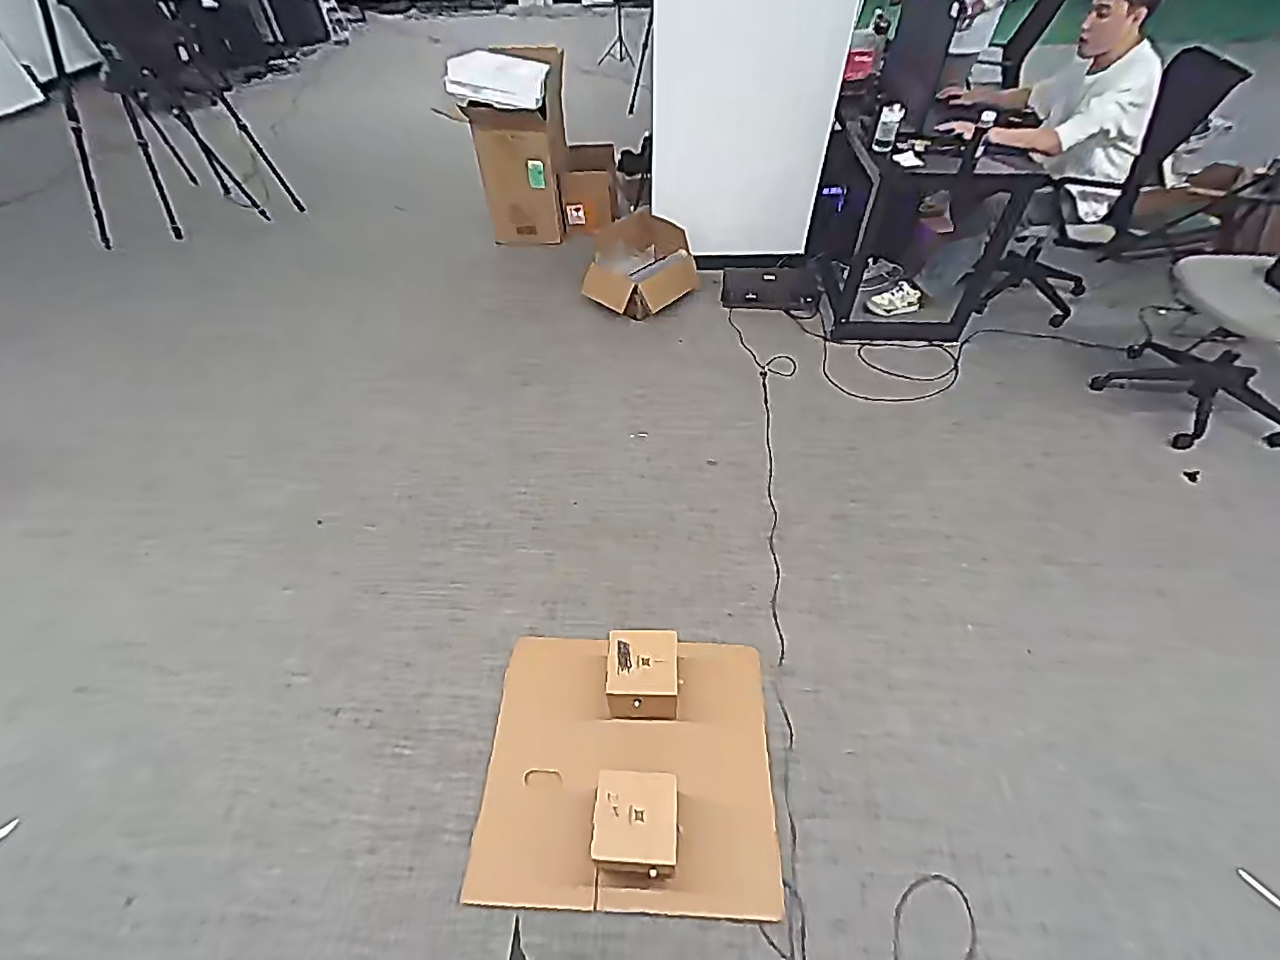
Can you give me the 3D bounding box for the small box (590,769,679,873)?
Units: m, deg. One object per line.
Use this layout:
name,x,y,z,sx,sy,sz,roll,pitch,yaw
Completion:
small box,-0.004,0.755,1.194,0.179,0.176,0.168,1,49,5

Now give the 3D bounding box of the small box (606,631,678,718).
small box,0.010,0.510,1.410,0.179,0.176,0.168,0,49,3
